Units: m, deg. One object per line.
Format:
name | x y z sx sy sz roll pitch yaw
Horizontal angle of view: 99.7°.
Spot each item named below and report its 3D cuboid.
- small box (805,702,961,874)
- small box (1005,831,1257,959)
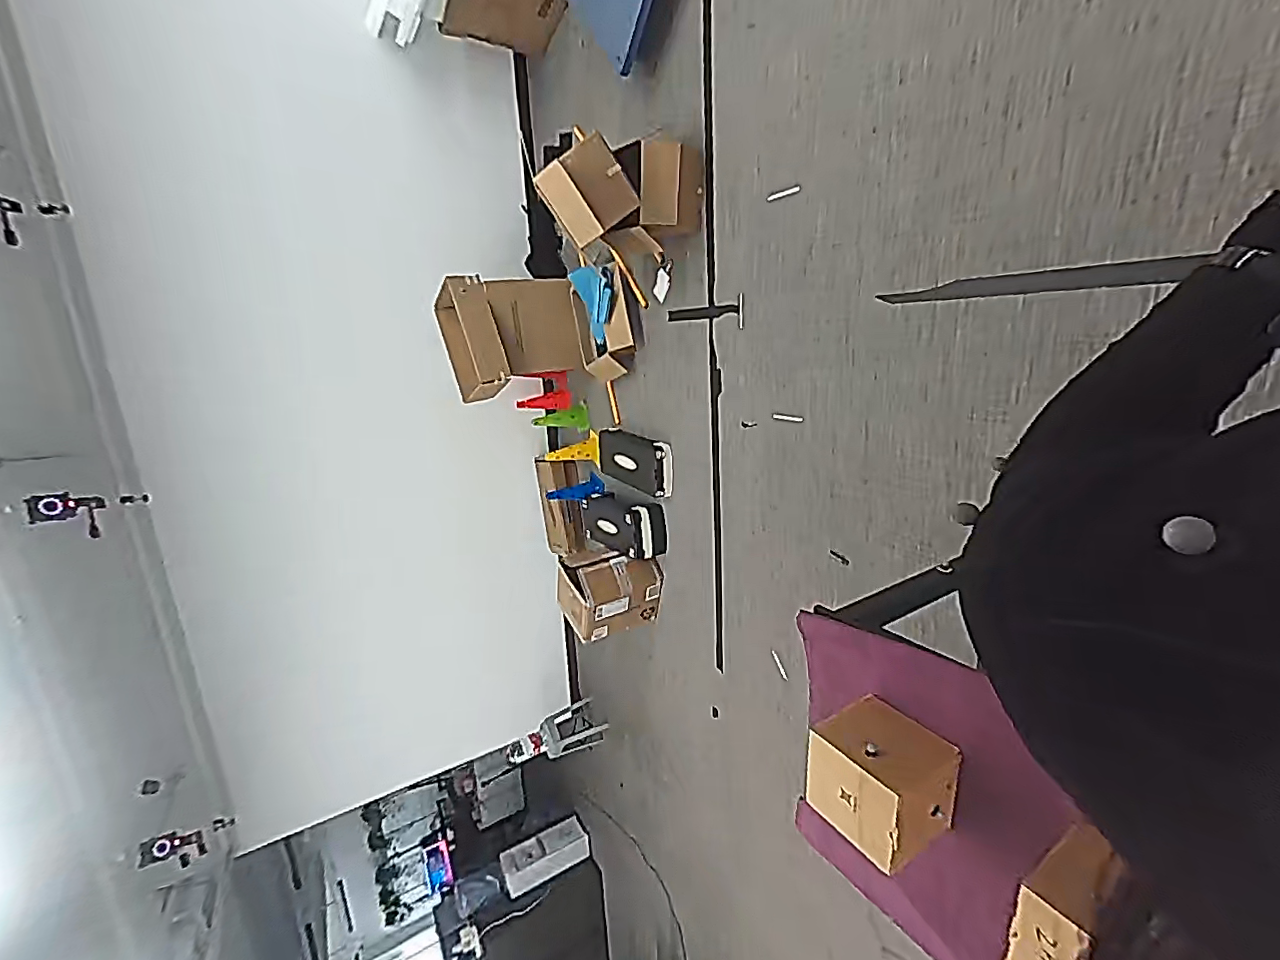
small box | 0.416 0.515 0.938 0.179 0.176 0.168 23 120 55
small box | 0.587 0.581 0.657 0.179 0.176 0.168 24 119 56
